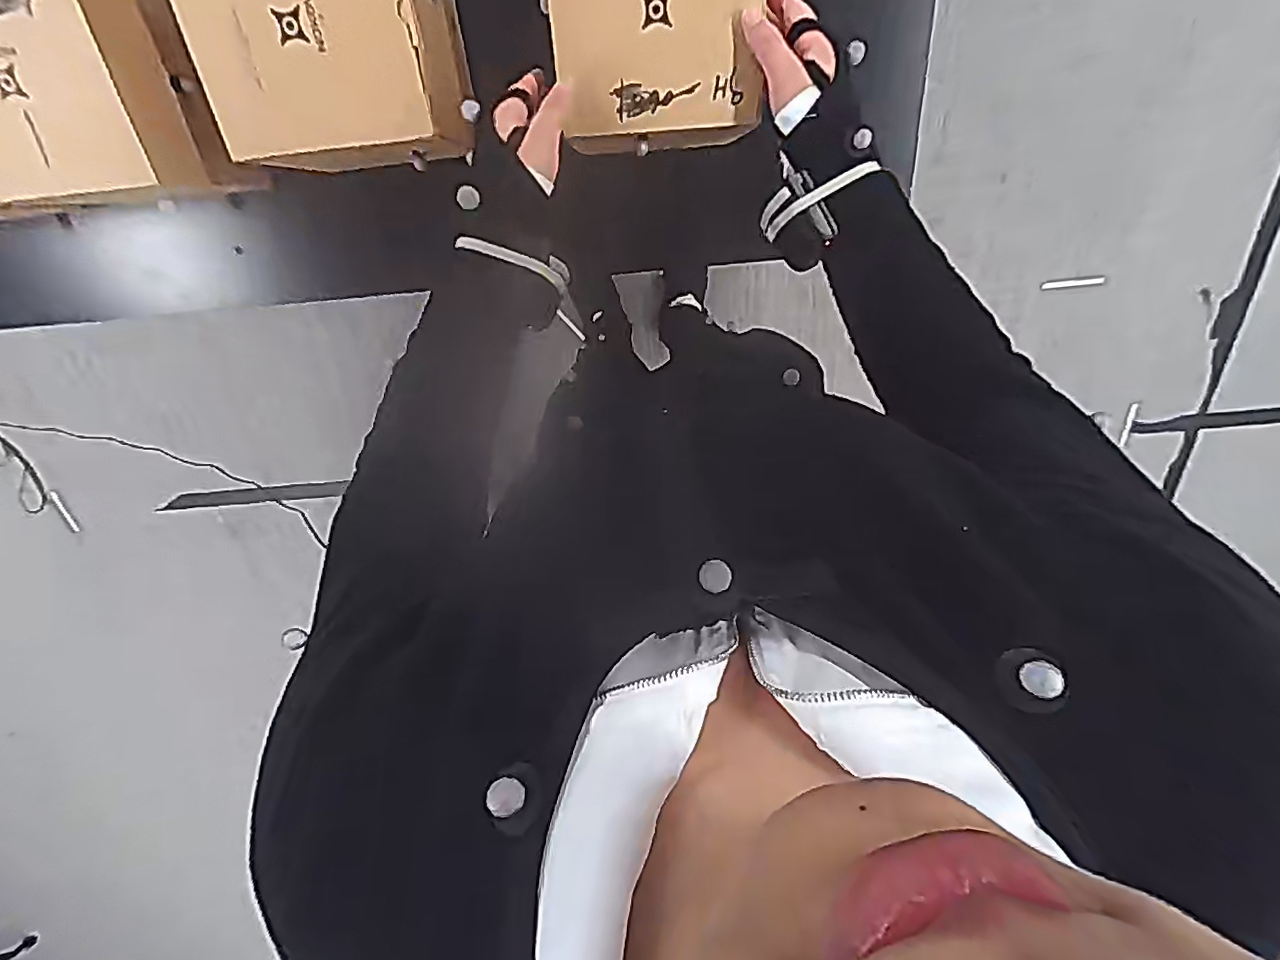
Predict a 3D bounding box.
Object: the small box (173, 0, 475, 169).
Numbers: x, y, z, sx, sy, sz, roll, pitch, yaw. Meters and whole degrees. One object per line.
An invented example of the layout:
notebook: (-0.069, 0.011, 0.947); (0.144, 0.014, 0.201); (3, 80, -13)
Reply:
small box: (-0.260, -0.383, 0.480); (0.179, 0.176, 0.168); (-6, 117, 3)
